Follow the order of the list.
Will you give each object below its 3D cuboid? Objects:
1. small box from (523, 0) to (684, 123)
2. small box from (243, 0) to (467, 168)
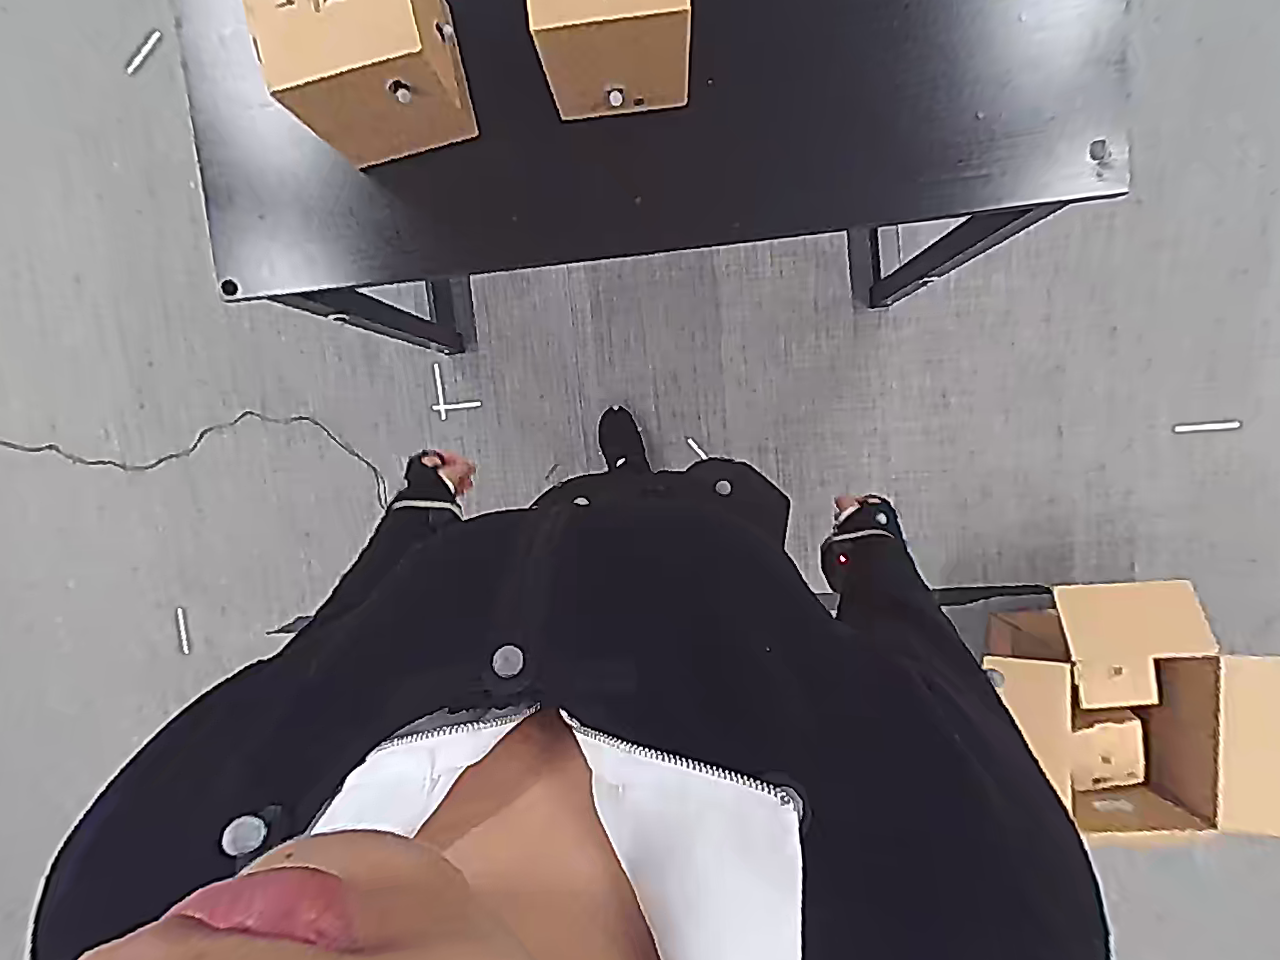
[{"bbox_3d":[-0.038,-0.553,0.621,0.168,0.176,0.179,-4,96,4],"label":"small box"},{"bbox_3d":[-0.324,-0.508,0.642,0.179,0.176,0.168,-12,95,5],"label":"small box"}]
